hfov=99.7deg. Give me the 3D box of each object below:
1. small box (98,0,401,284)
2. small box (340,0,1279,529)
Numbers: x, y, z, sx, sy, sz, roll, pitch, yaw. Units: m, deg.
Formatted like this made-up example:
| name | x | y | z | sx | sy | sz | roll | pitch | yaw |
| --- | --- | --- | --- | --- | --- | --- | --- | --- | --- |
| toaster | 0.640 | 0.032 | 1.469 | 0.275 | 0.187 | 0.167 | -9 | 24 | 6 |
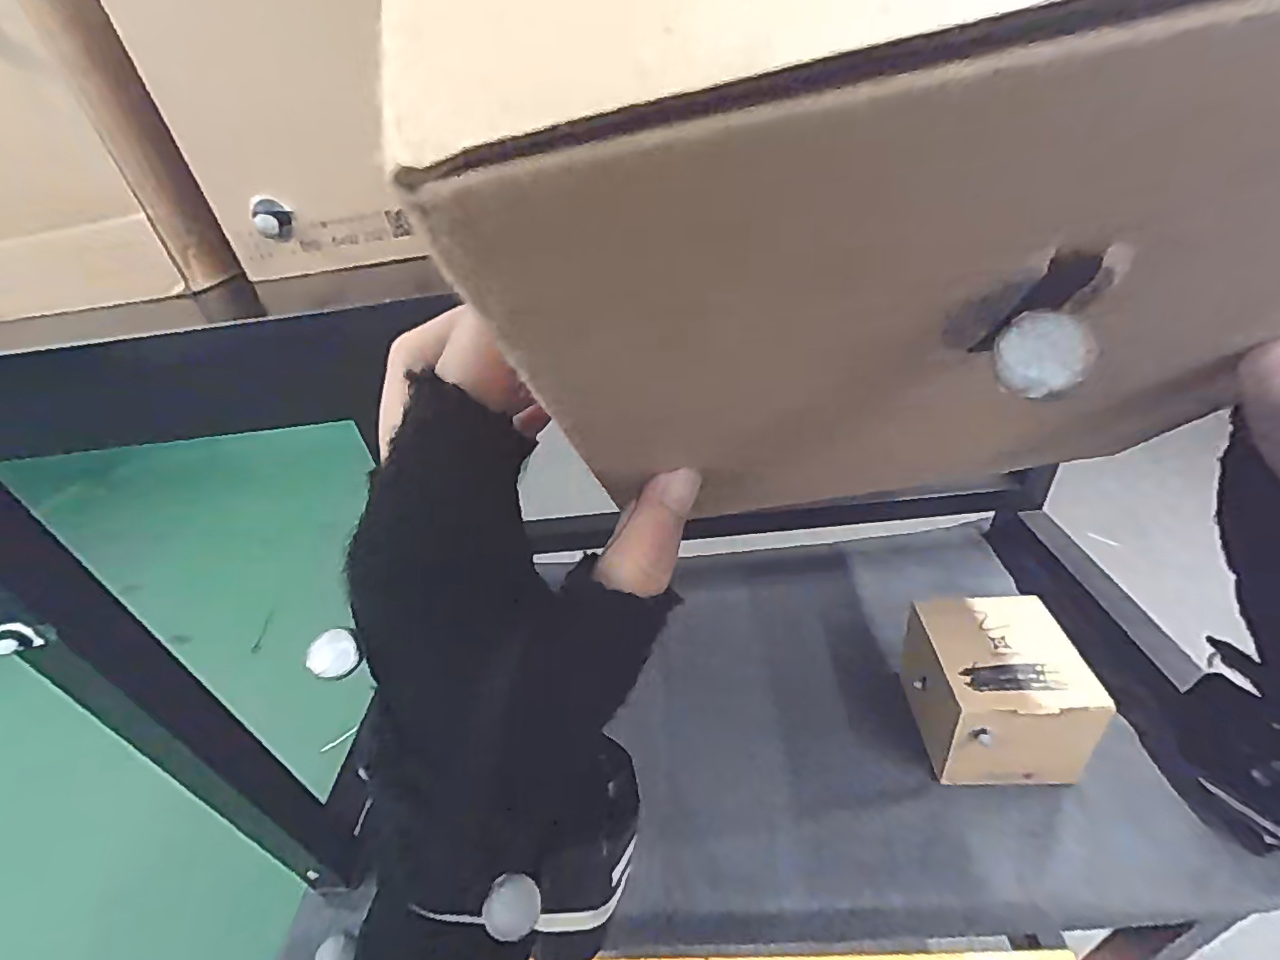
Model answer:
| name | x | y | z | sx | sy | sz | roll | pitch | yaw |
| --- | --- | --- | --- | --- | --- | --- | --- | --- | --- |
| small box | -0.169 | -0.236 | 0.354 | 0.168 | 0.176 | 0.179 | -7 | 33 | 4 |
| small box | 0.055 | -0.089 | 0.148 | 0.179 | 0.176 | 0.168 | -9 | 73 | 5 |
